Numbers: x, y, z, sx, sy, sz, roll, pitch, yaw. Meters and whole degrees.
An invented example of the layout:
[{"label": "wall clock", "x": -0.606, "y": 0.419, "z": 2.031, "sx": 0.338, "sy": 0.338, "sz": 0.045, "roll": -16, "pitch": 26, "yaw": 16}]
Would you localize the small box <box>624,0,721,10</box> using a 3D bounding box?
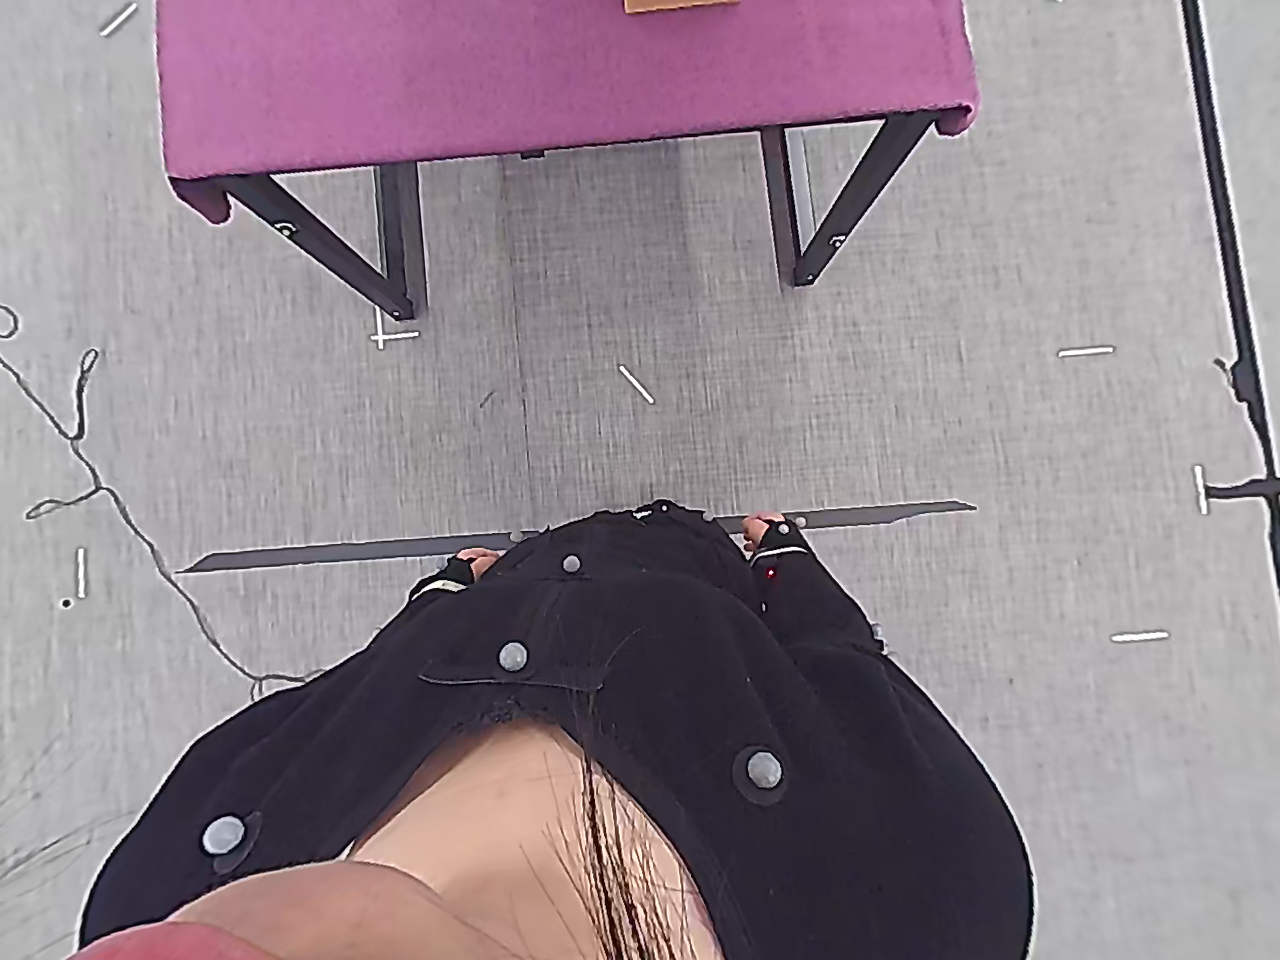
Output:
[{"label": "small box", "x": 0.056, "y": -0.798, "z": 0.739, "sx": 0.179, "sy": 0.176, "sz": 0.168, "roll": -6, "pitch": 86, "yaw": 0}]
